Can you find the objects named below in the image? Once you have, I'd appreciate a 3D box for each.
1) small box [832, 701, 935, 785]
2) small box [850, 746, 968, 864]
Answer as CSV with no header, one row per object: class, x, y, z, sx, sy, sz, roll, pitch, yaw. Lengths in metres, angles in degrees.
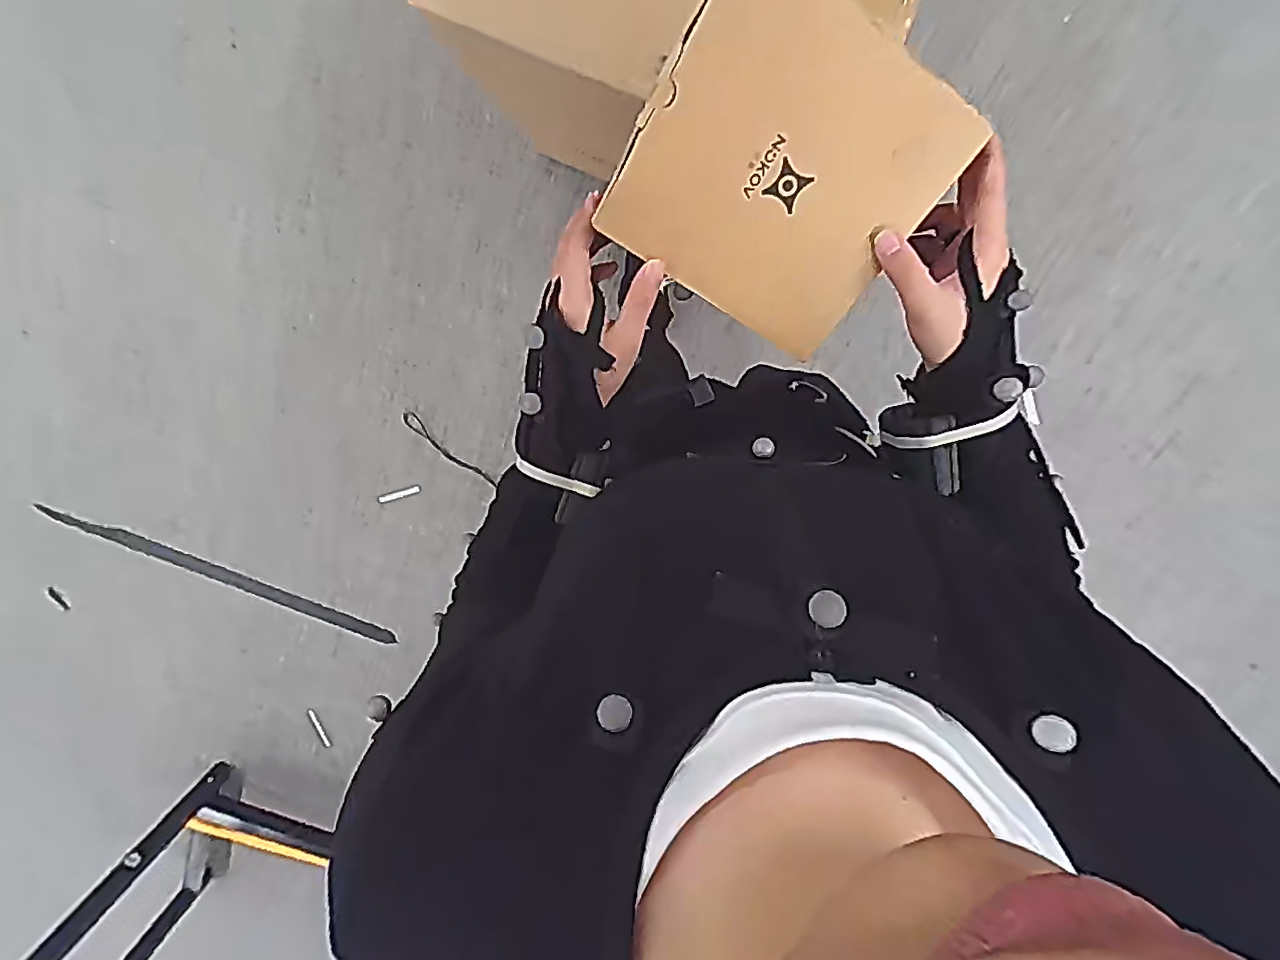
small box,0.669,0.753,1.508,0.179,0.176,0.168,22,107,-3
small box,0.660,0.803,1.351,0.179,0.176,0.168,20,107,-3
